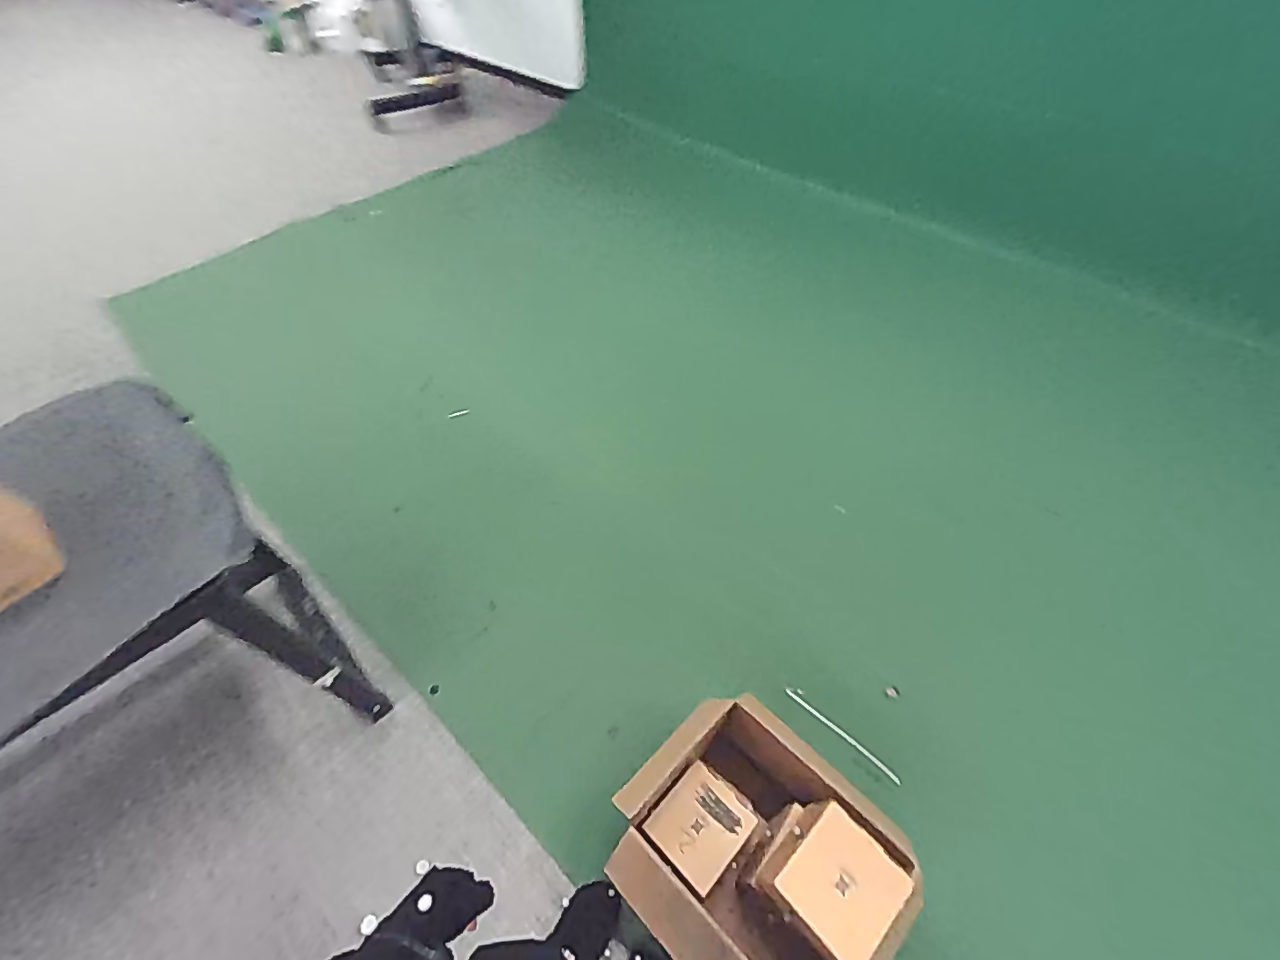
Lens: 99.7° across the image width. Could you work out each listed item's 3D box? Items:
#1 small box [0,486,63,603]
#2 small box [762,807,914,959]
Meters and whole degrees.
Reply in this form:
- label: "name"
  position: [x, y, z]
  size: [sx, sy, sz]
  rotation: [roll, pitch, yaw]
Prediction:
- label: "small box"
  position: [-0.976, 0.087, 0.749]
  size: [0.179, 0.176, 0.168]
  rotation: [35, 60, 25]
- label: "small box"
  position: [0.332, 0.714, 0.945]
  size: [0.179, 0.176, 0.168]
  rotation: [-37, 63, -24]
